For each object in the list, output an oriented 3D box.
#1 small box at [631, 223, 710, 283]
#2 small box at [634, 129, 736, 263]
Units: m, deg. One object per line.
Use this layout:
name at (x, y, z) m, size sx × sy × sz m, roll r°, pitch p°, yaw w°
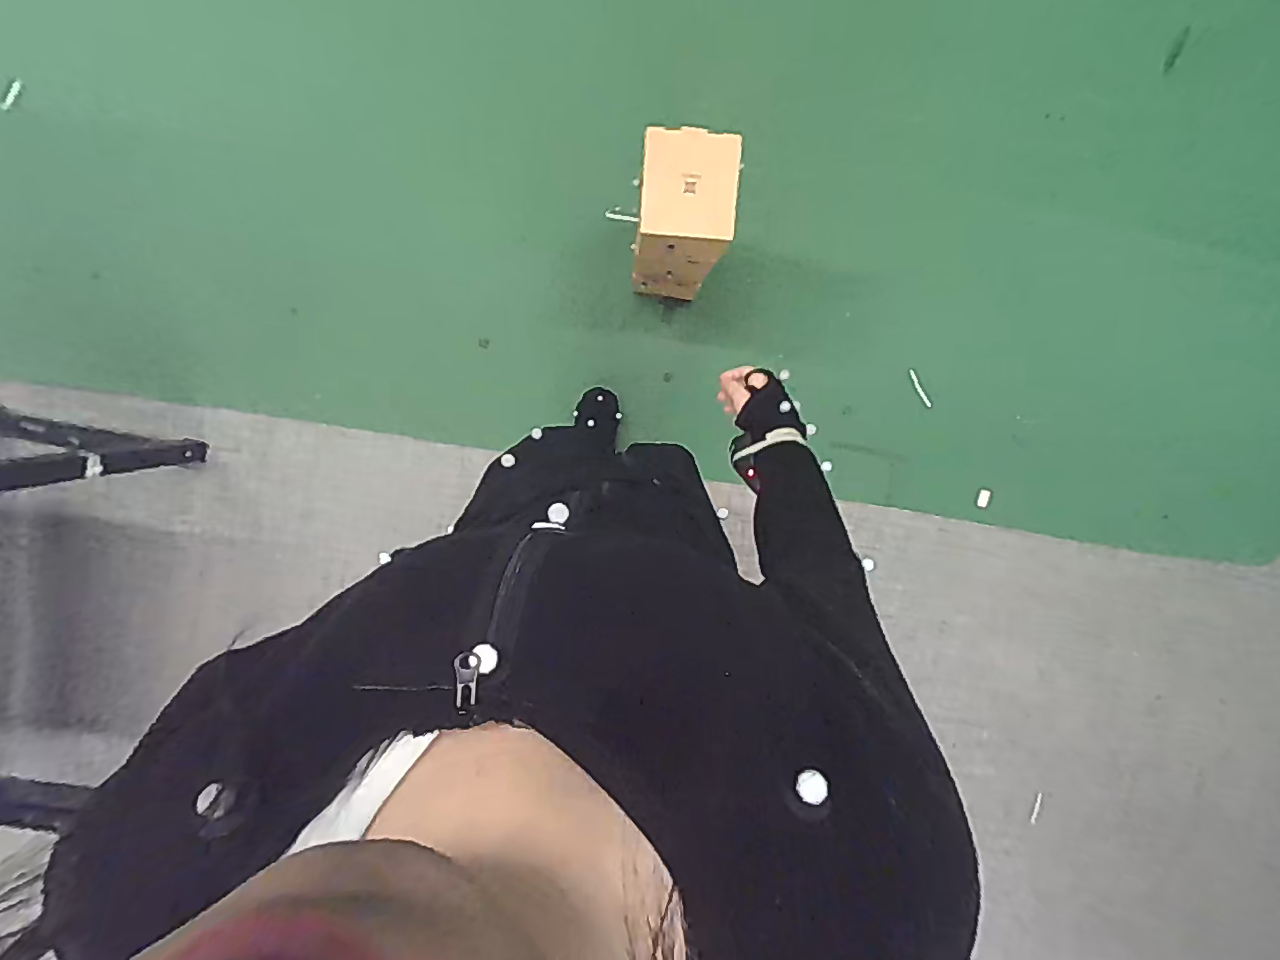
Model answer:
small box at (0.070, -0.546, 1.175) m, size 0.168 × 0.176 × 0.179 m, roll 6°, pitch 98°, yaw -2°
small box at (0.076, -0.519, 1.015) m, size 0.168 × 0.176 × 0.179 m, roll 3°, pitch 97°, yaw -2°
